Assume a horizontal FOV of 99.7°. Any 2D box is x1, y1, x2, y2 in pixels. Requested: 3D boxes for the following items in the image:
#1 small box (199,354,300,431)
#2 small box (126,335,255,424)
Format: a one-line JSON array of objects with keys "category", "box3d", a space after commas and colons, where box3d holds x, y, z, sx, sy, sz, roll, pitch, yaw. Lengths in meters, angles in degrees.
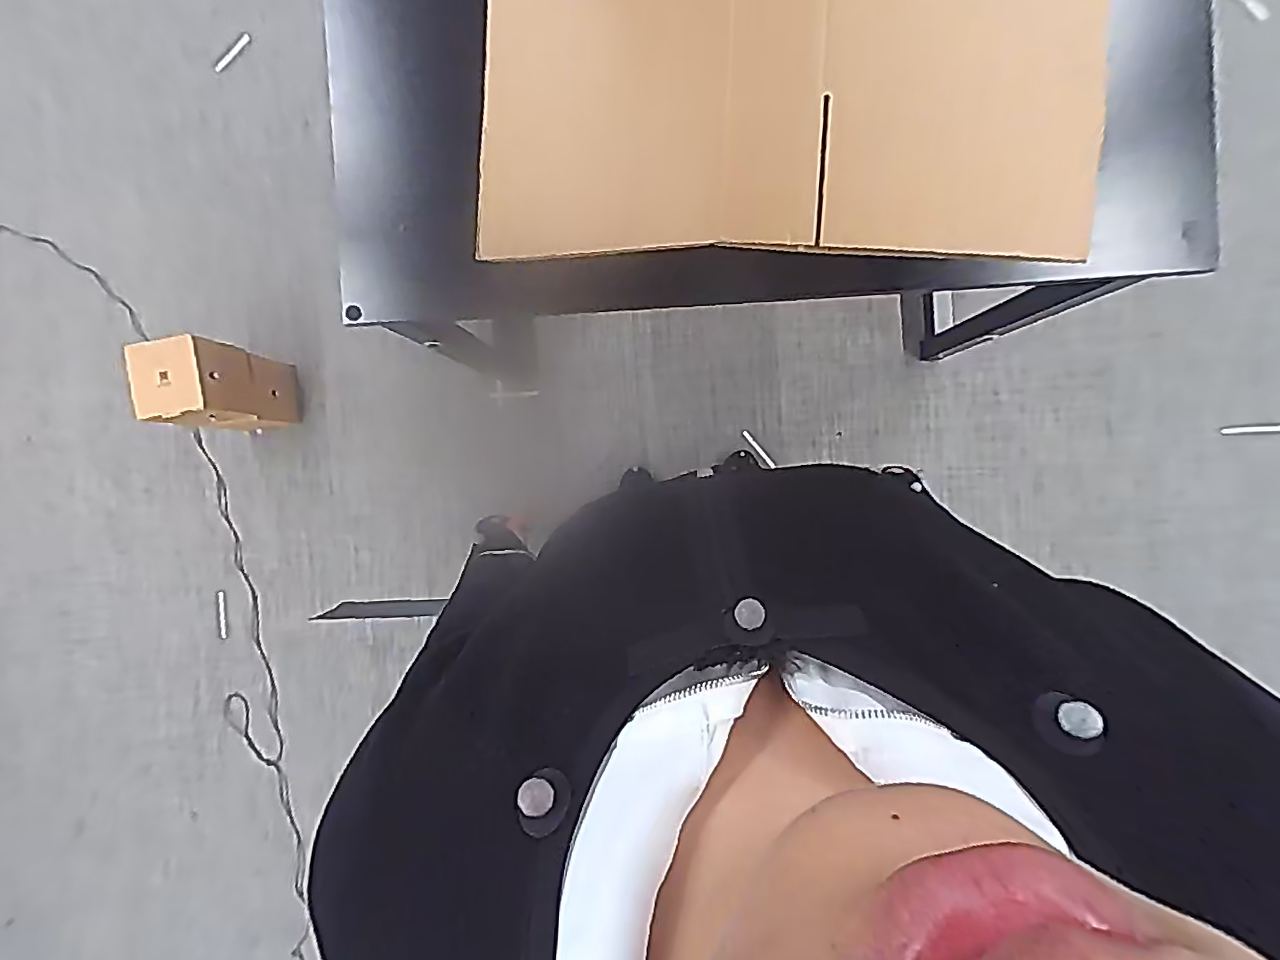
[{"category": "small box", "box3d": [-1.066, -0.234, 1.474, 0.168, 0.176, 0.179, -7, 92, 3]}, {"category": "small box", "box3d": [-1.077, -0.235, 1.312, 0.168, 0.176, 0.179, -10, 90, 3]}]
